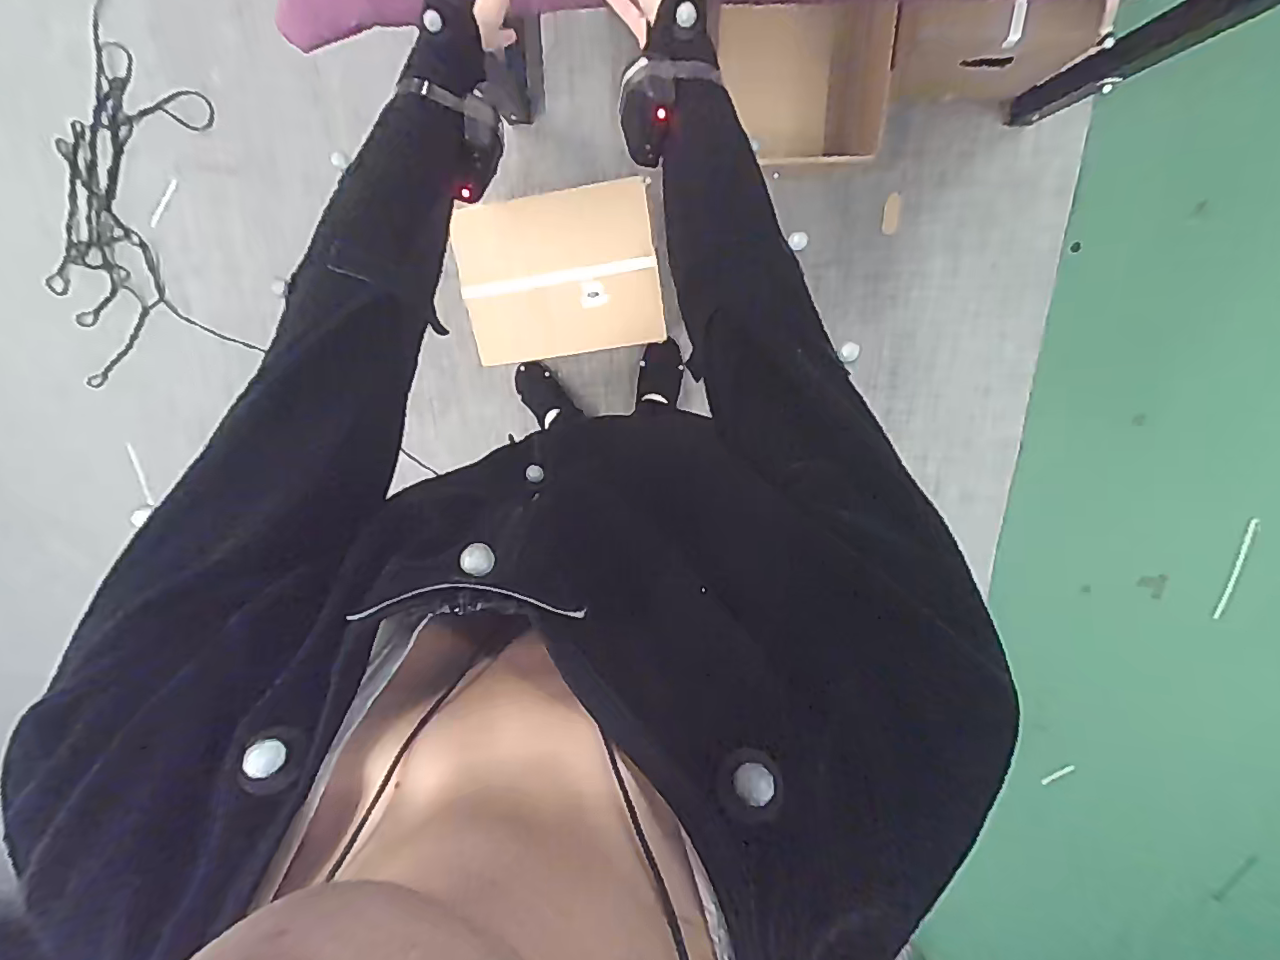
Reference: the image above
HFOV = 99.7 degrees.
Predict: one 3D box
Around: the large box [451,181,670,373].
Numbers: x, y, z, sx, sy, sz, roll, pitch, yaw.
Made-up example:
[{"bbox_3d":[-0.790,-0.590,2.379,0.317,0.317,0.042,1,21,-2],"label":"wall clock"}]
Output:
[{"bbox_3d":[-0.152,-0.441,1.231,0.408,0.320,0.320,-7,107,5],"label":"large box"}]
